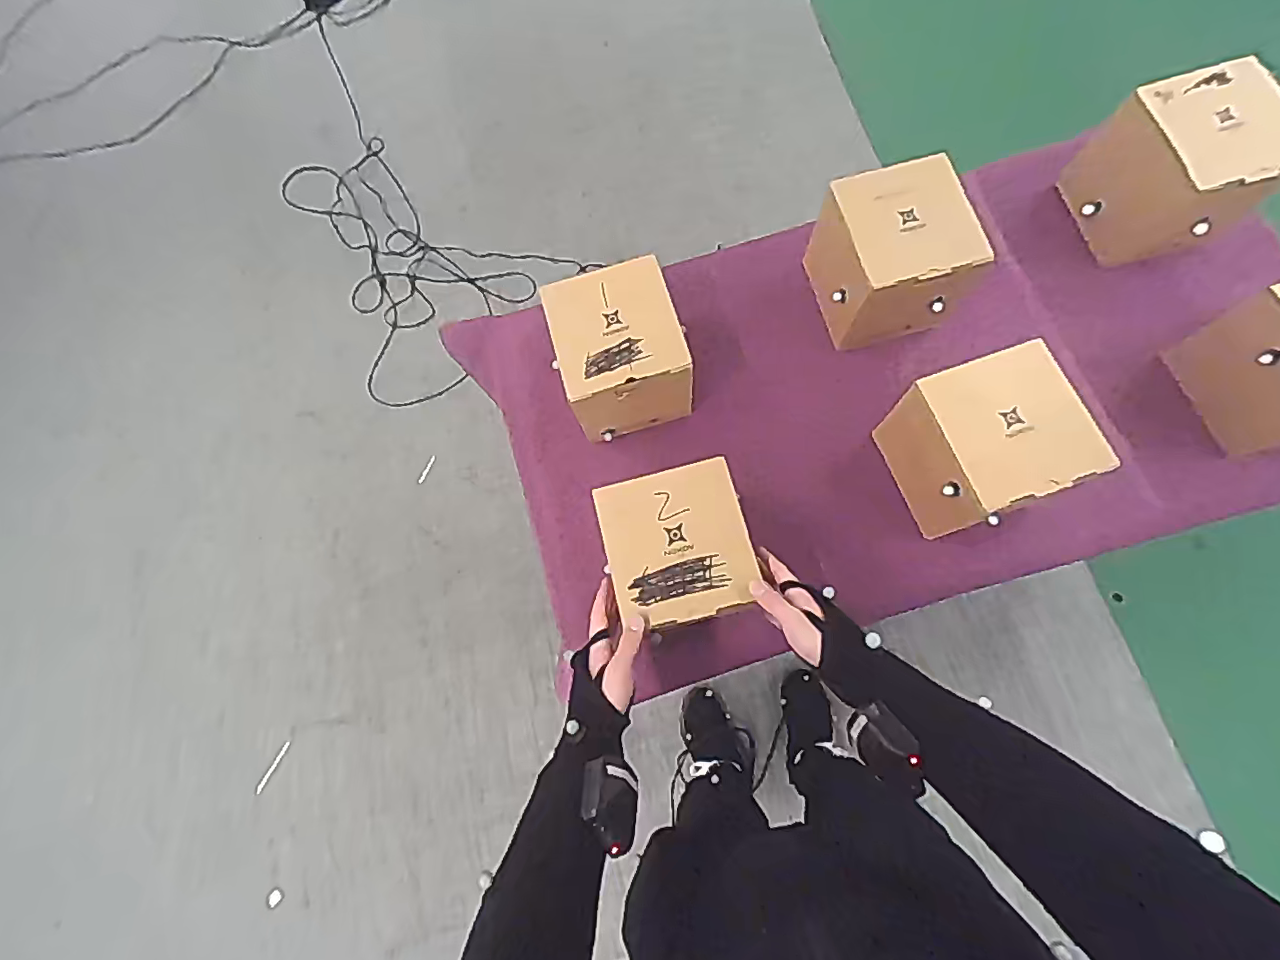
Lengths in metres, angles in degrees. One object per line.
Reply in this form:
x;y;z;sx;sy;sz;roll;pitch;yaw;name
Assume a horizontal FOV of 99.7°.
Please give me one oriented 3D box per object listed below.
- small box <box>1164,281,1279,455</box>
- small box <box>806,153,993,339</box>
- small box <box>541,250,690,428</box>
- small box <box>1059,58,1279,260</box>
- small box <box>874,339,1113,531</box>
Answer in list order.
0.857;-0.154;0.699;0.168;0.176;0.179;-17;74;2;small box
0.361;-0.325;0.788;0.168;0.176;0.179;-13;75;0;small box
-0.028;-0.188;0.780;0.168;0.176;0.179;-16;74;0;small box
0.770;-0.446;0.784;0.168;0.176;0.179;-15;77;1;small box
0.438;-0.049;0.709;0.168;0.176;0.179;-18;74;-1;small box
